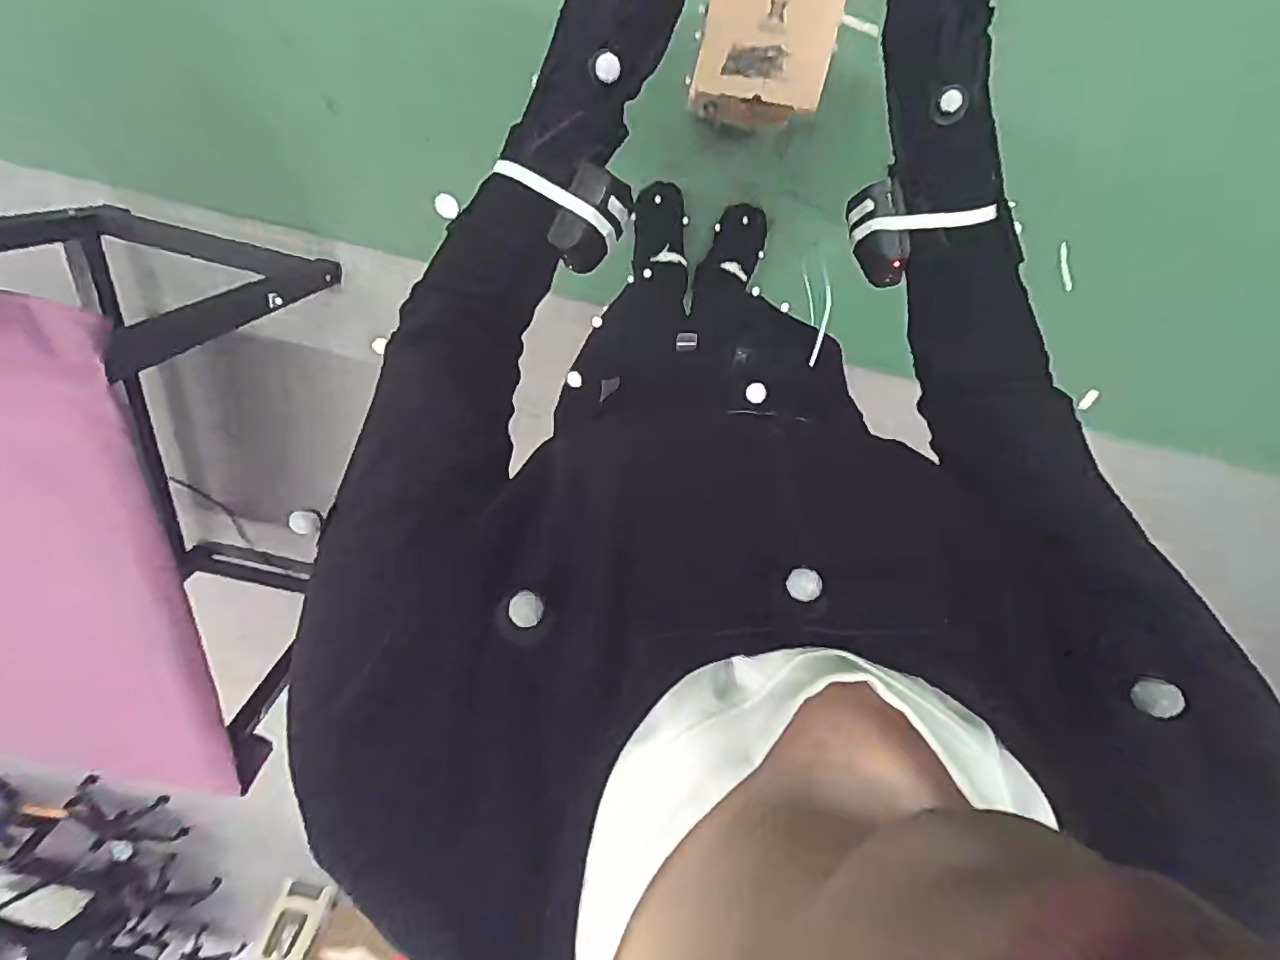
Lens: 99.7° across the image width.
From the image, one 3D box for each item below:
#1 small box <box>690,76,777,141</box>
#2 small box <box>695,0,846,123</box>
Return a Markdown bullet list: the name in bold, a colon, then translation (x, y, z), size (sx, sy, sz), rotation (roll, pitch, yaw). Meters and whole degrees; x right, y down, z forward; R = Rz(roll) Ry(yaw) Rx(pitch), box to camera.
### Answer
- **small box**: translation (0.196, -0.775, 1.039), size (0.168, 0.176, 0.179), rotation (14, 122, -4)
- **small box**: translation (0.174, -0.615, 0.752), size (0.168, 0.176, 0.179), rotation (9, 121, -1)
